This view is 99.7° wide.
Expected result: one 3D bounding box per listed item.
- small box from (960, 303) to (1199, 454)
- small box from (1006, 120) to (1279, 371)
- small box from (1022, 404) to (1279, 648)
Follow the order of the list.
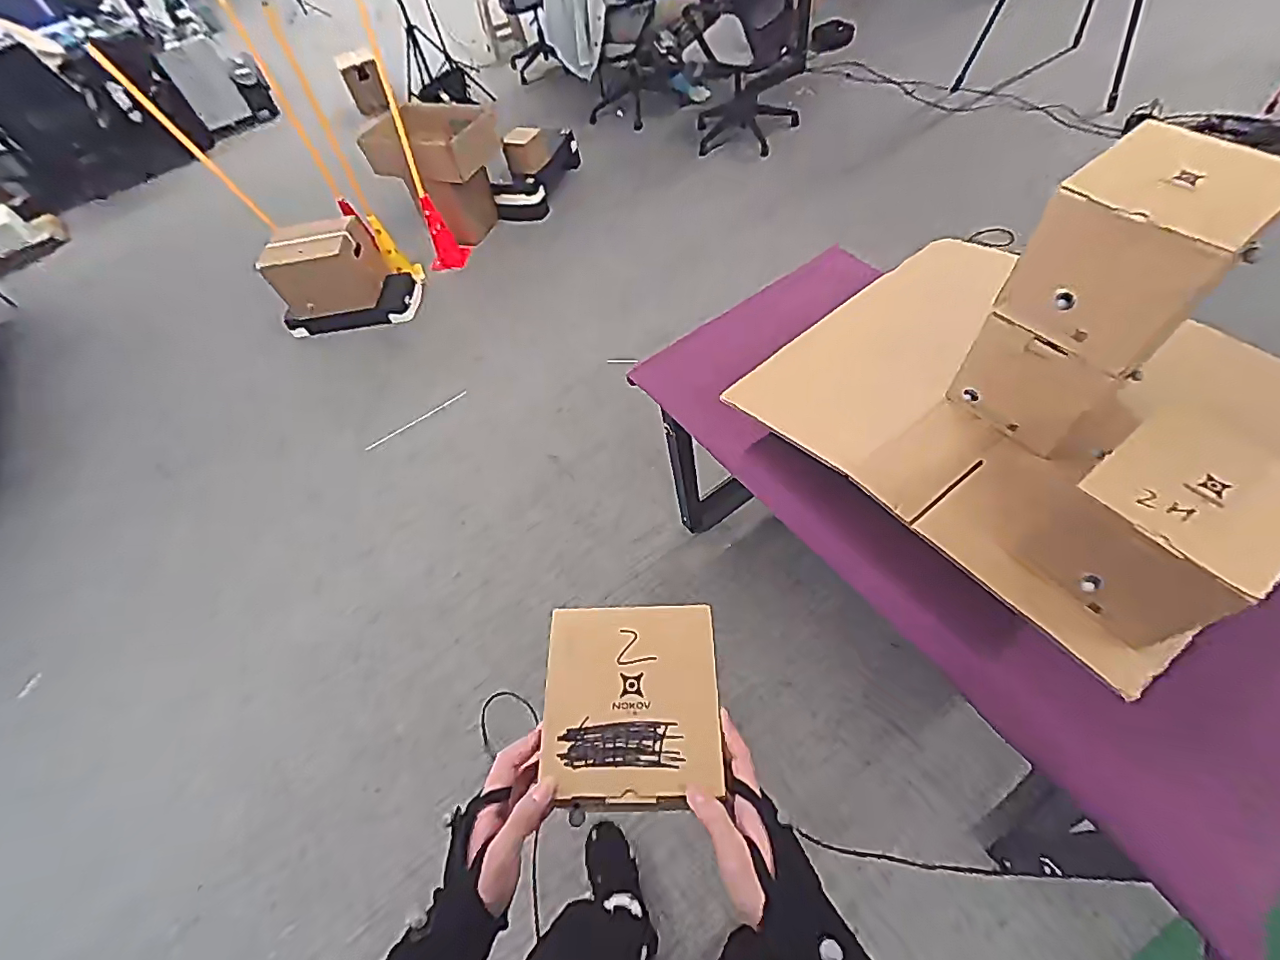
[{"bbox_3d":[0.581,-0.168,0.747,0.179,0.176,0.168,-36,60,-15],"label":"small box"},{"bbox_3d":[0.567,-0.260,0.614,0.179,0.176,0.168,-37,61,-14],"label":"small box"},{"bbox_3d":[0.581,0.056,0.606,0.179,0.176,0.168,-35,59,-13],"label":"small box"}]
